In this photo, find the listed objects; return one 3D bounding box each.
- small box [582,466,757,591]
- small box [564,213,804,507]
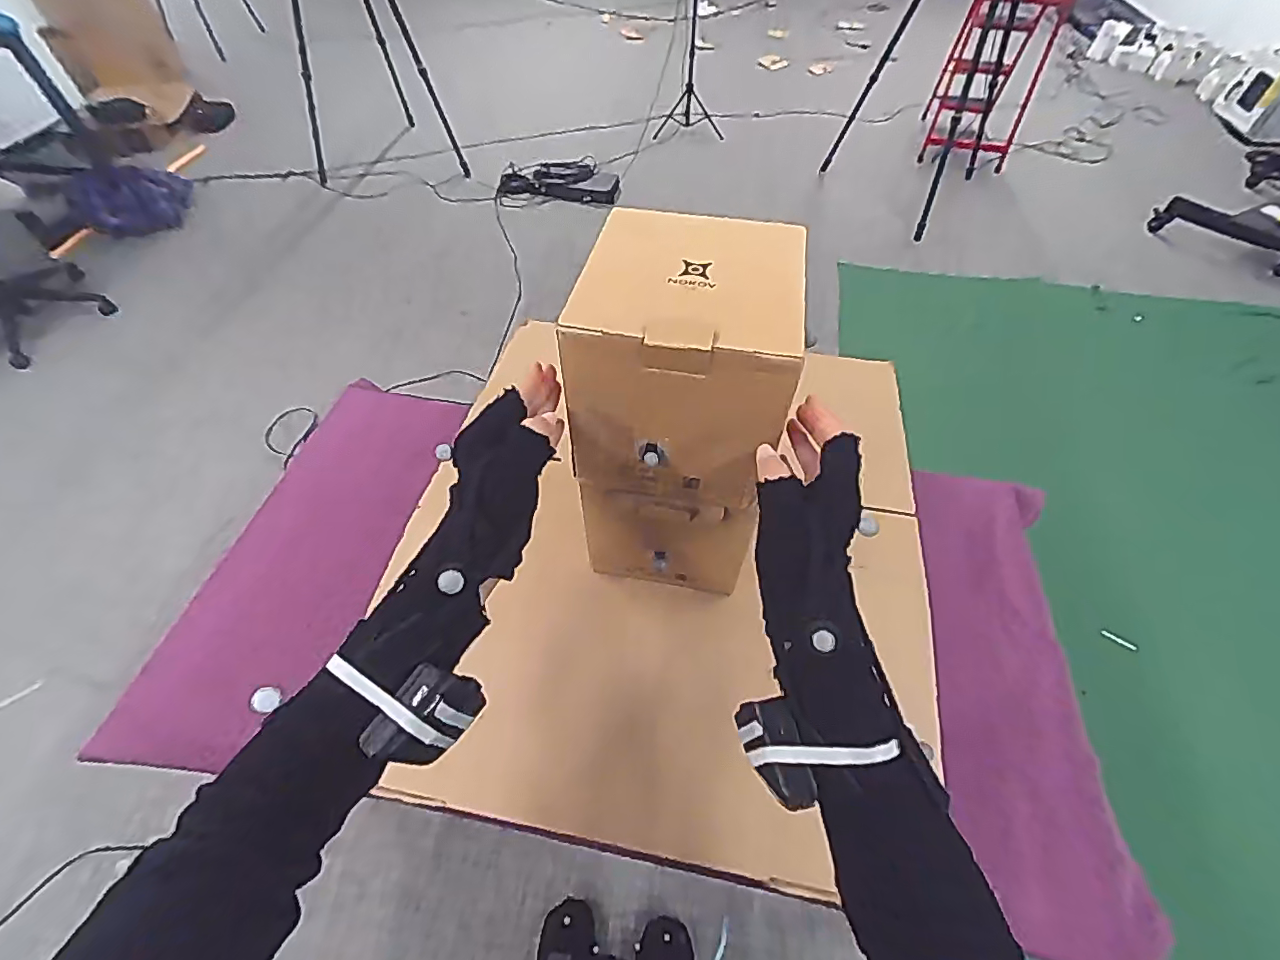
[{"bbox_3d":[0.039,-0.002,0.604,0.168,0.176,0.179,9,52,7],"label":"small box"},{"bbox_3d":[0.040,-0.103,0.476,0.168,0.176,0.179,9,53,6],"label":"small box"}]
